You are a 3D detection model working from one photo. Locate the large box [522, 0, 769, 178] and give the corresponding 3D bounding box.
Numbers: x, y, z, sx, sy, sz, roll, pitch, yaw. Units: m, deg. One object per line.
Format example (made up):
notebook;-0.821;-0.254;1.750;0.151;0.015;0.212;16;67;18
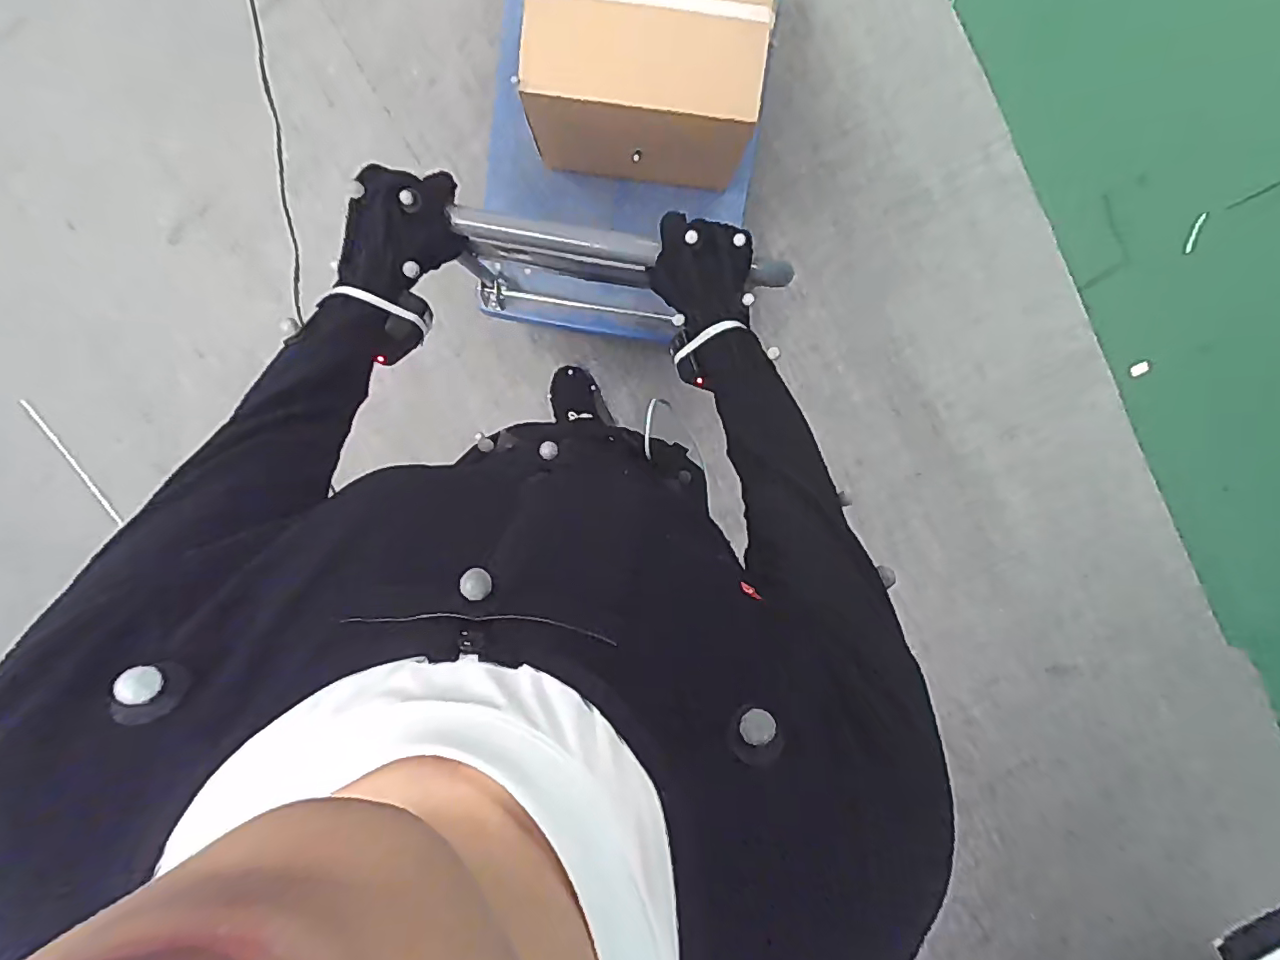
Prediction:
large box;0.012;-0.808;1.029;0.408;0.320;0.320;6;98;-2
